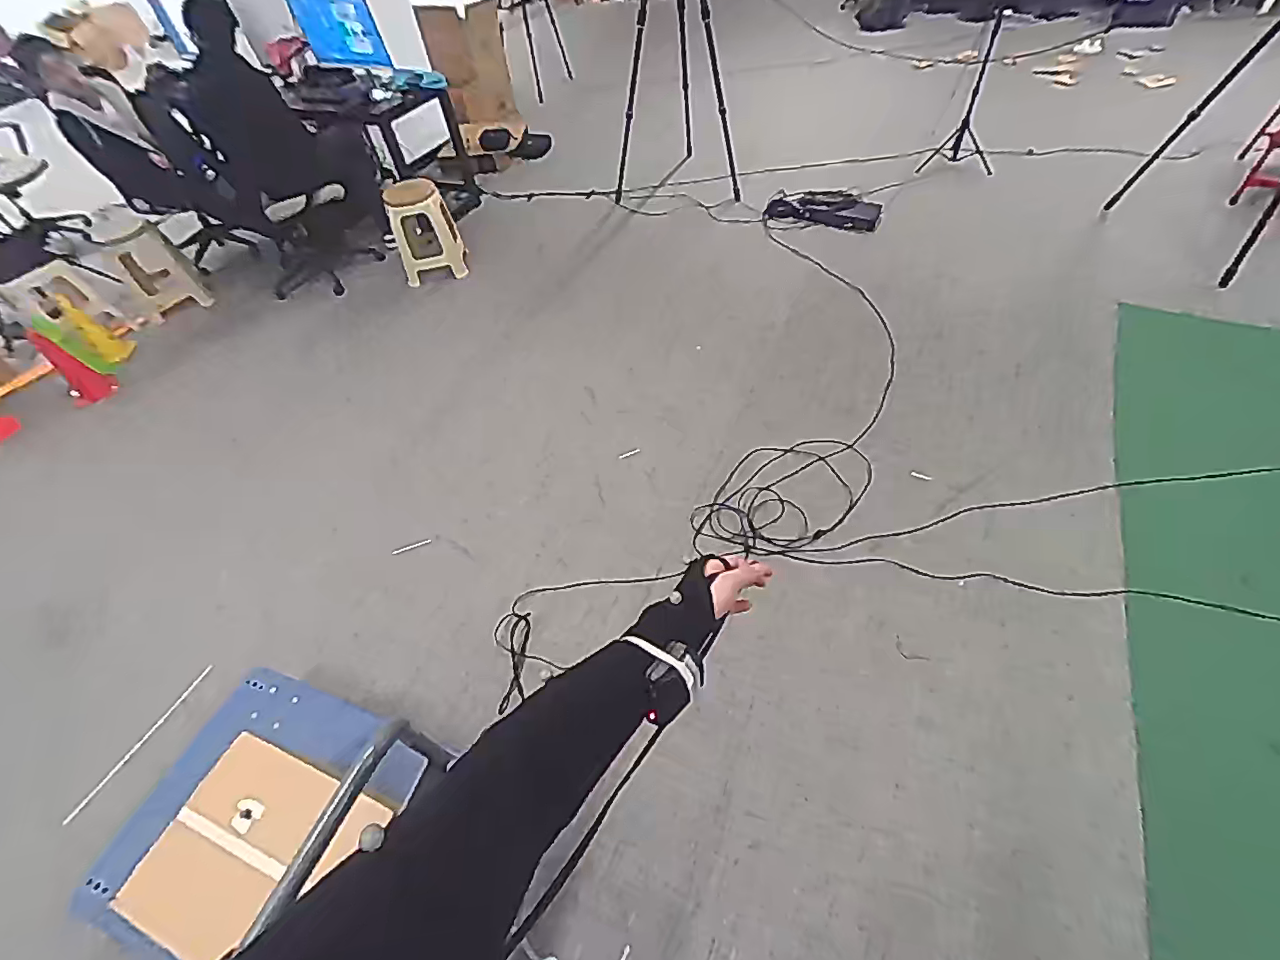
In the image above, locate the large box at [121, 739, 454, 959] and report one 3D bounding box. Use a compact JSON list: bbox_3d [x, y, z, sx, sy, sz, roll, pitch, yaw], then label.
[{"bbox_3d":[-0.669,0.788,1.097,0.408,0.320,0.320,14,53,18],"label":"large box"}]
